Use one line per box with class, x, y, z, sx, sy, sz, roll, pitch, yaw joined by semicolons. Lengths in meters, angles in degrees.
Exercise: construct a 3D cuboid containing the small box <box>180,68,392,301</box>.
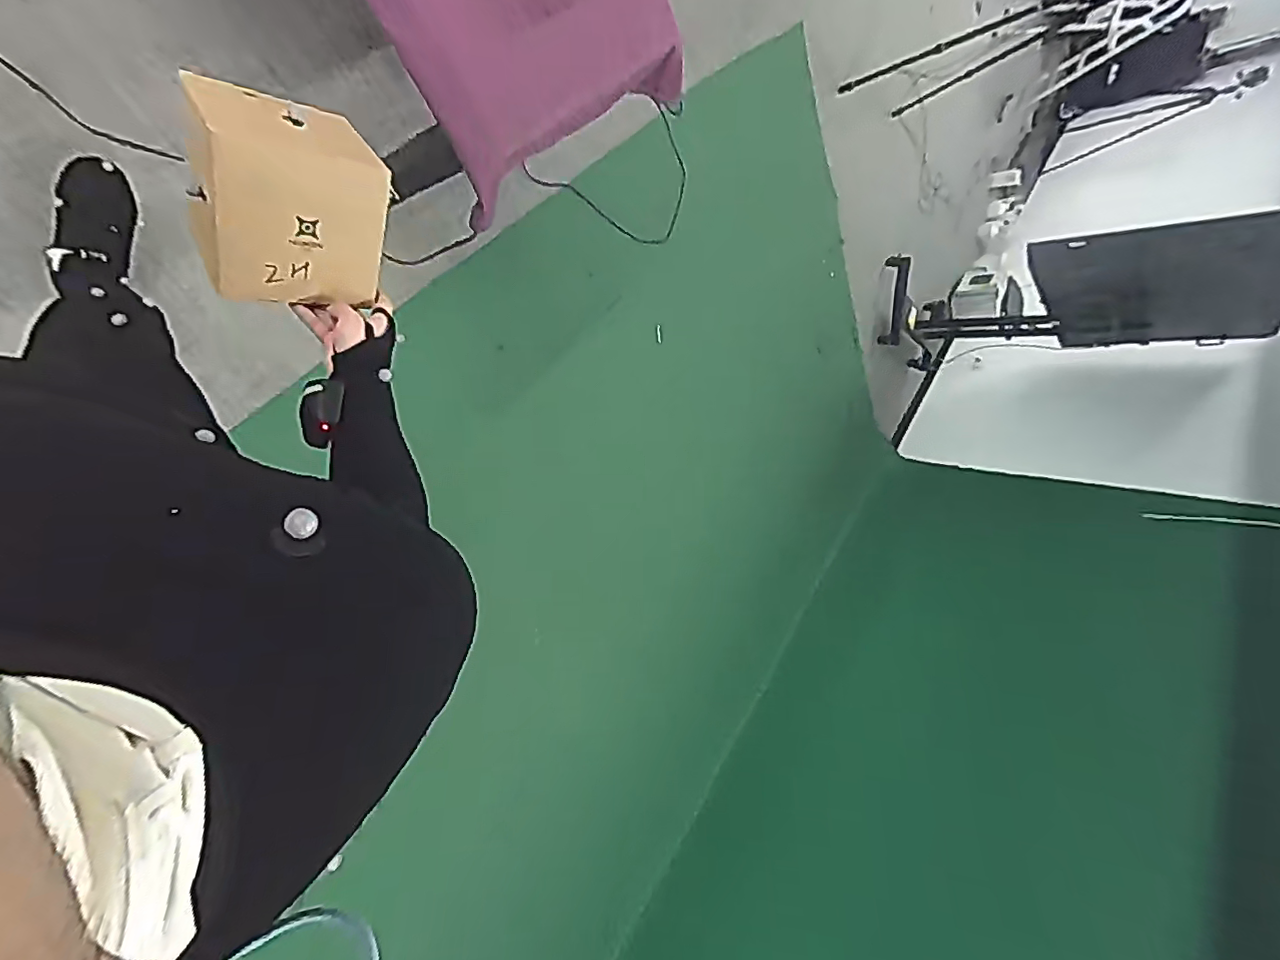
small box;-0.413;-0.336;0.631;0.168;0.176;0.179;-11;142;-43
